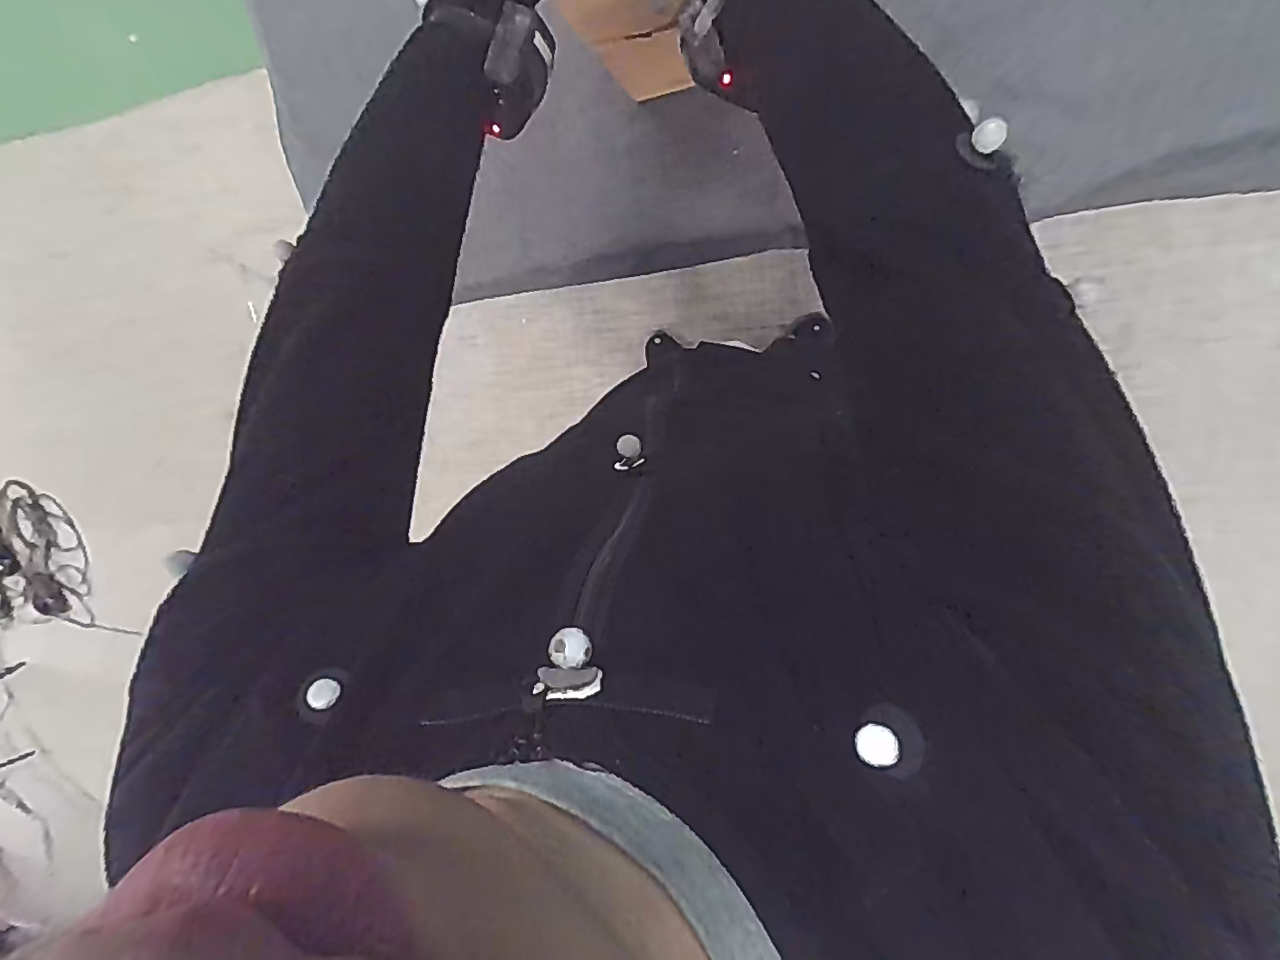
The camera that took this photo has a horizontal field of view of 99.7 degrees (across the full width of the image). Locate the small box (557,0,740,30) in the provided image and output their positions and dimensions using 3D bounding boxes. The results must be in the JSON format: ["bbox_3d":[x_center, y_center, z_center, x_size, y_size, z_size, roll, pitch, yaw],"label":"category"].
[{"bbox_3d":[0.001,-0.468,0.395,0.168,0.176,0.179,-4,113,12],"label":"small box"}]

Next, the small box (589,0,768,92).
[{"bbox_3d":[0.039,-0.522,0.542,0.168,0.176,0.179,-4,108,14],"label":"small box"}]
